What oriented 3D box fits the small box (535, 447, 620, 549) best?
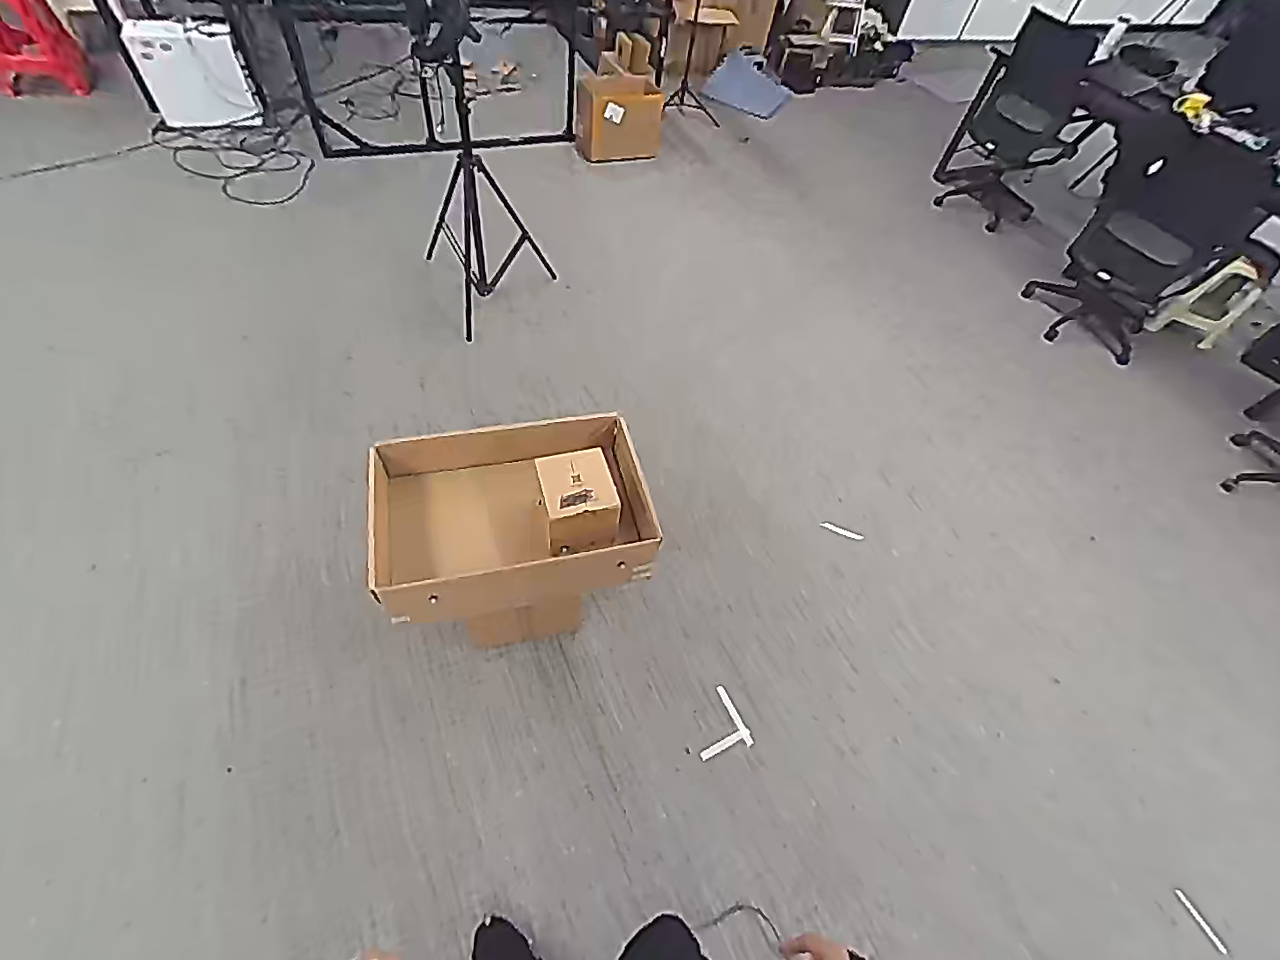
[{"bbox_3d":[-0.152,0.049,1.297,0.168,0.176,0.179,-11,56,-16],"label":"small box"}]
